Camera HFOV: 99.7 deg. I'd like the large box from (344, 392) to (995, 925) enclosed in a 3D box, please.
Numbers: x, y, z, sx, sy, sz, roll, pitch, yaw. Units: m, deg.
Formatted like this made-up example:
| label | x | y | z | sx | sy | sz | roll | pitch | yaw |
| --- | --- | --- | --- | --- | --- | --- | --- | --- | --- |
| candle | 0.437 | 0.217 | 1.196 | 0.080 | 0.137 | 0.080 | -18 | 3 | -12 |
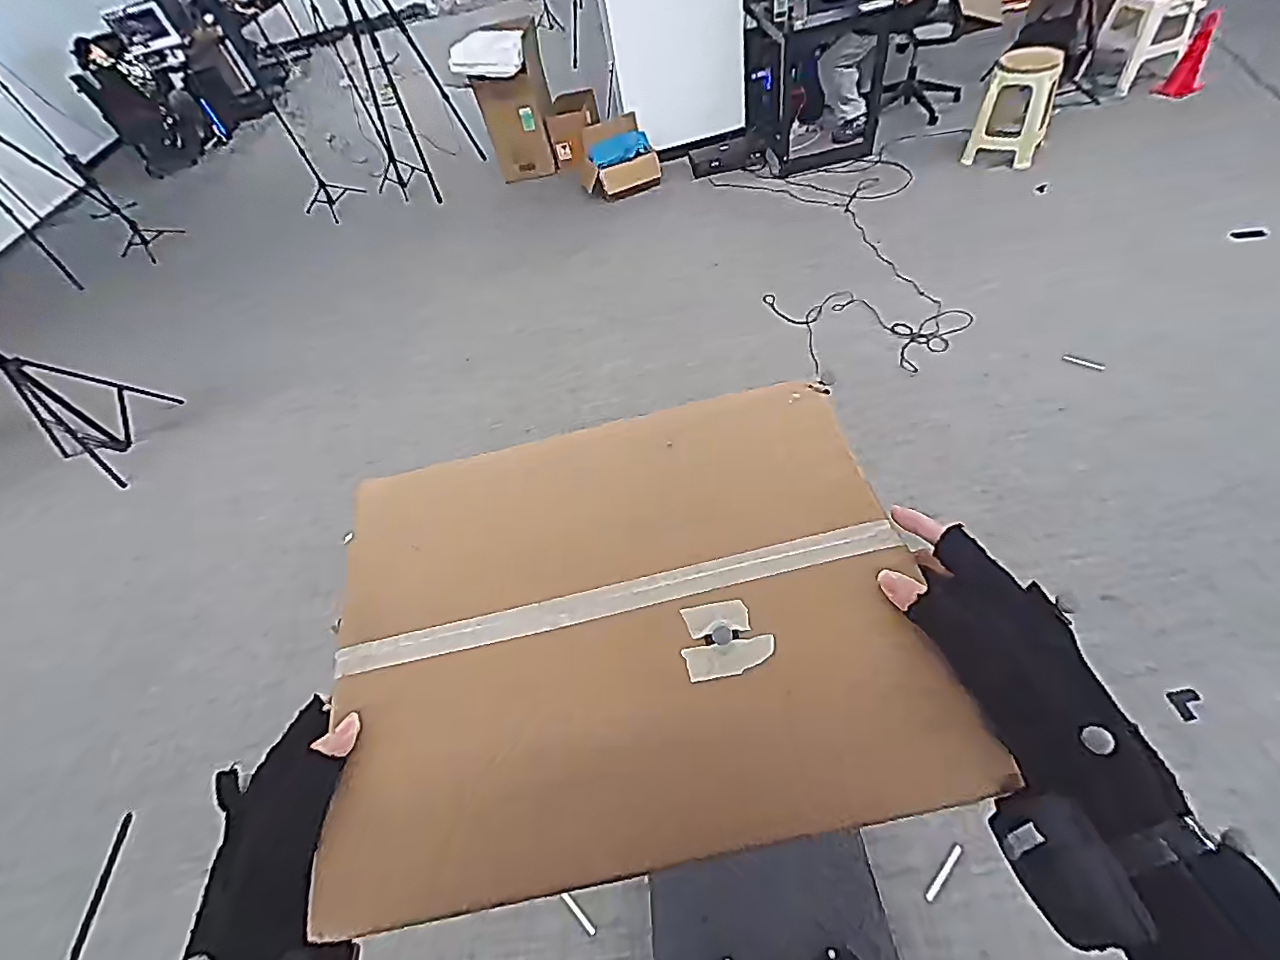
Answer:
| label | x | y | z | sx | sy | sz | roll | pitch | yaw |
| --- | --- | --- | --- | --- | --- | --- | --- | --- | --- |
| large box | 0.008 | 0.171 | 0.521 | 0.408 | 0.320 | 0.320 | -13 | 57 | 1 |
